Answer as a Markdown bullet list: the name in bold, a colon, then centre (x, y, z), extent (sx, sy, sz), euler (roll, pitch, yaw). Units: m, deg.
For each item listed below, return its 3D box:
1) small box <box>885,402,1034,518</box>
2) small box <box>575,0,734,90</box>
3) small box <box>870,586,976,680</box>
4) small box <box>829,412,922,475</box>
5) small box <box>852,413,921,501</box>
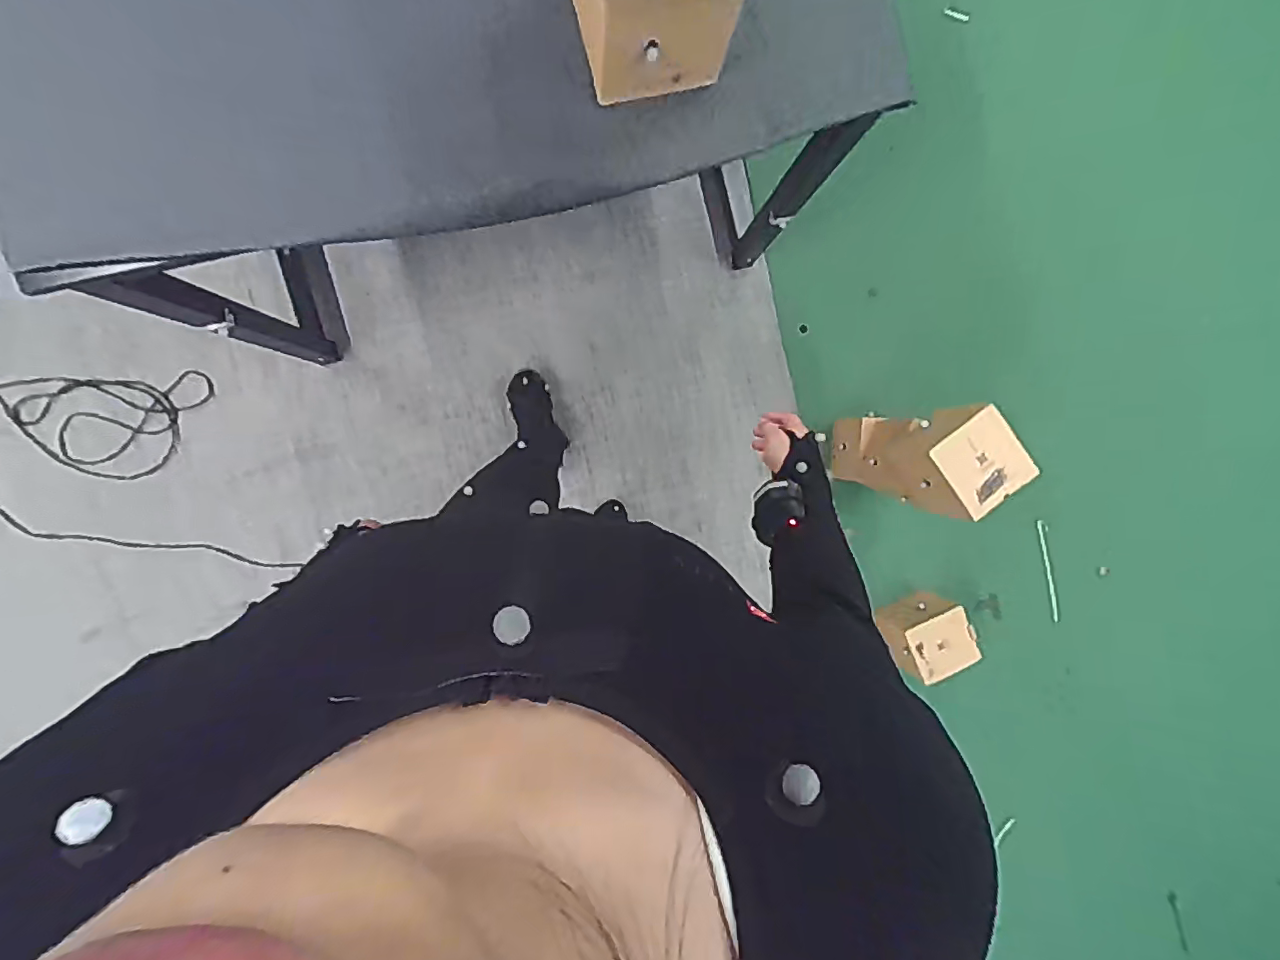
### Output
- **small box**: centre (0.661, -0.046, 1.138), extent (0.168, 0.176, 0.179), euler (-37, 96, -1)
- **small box**: centre (0.011, -0.597, 0.631), extent (0.168, 0.176, 0.179), euler (-14, 94, -4)
- **small box**: centre (0.784, 0.418, 1.512), extent (0.179, 0.176, 0.168), euler (-24, 97, -4)
- **small box**: centre (0.630, -0.093, 1.461), extent (0.179, 0.176, 0.168), euler (2, 94, -6)
- **small box**: centre (0.648, -0.050, 1.302), extent (0.179, 0.176, 0.168), euler (23, 93, -7)
